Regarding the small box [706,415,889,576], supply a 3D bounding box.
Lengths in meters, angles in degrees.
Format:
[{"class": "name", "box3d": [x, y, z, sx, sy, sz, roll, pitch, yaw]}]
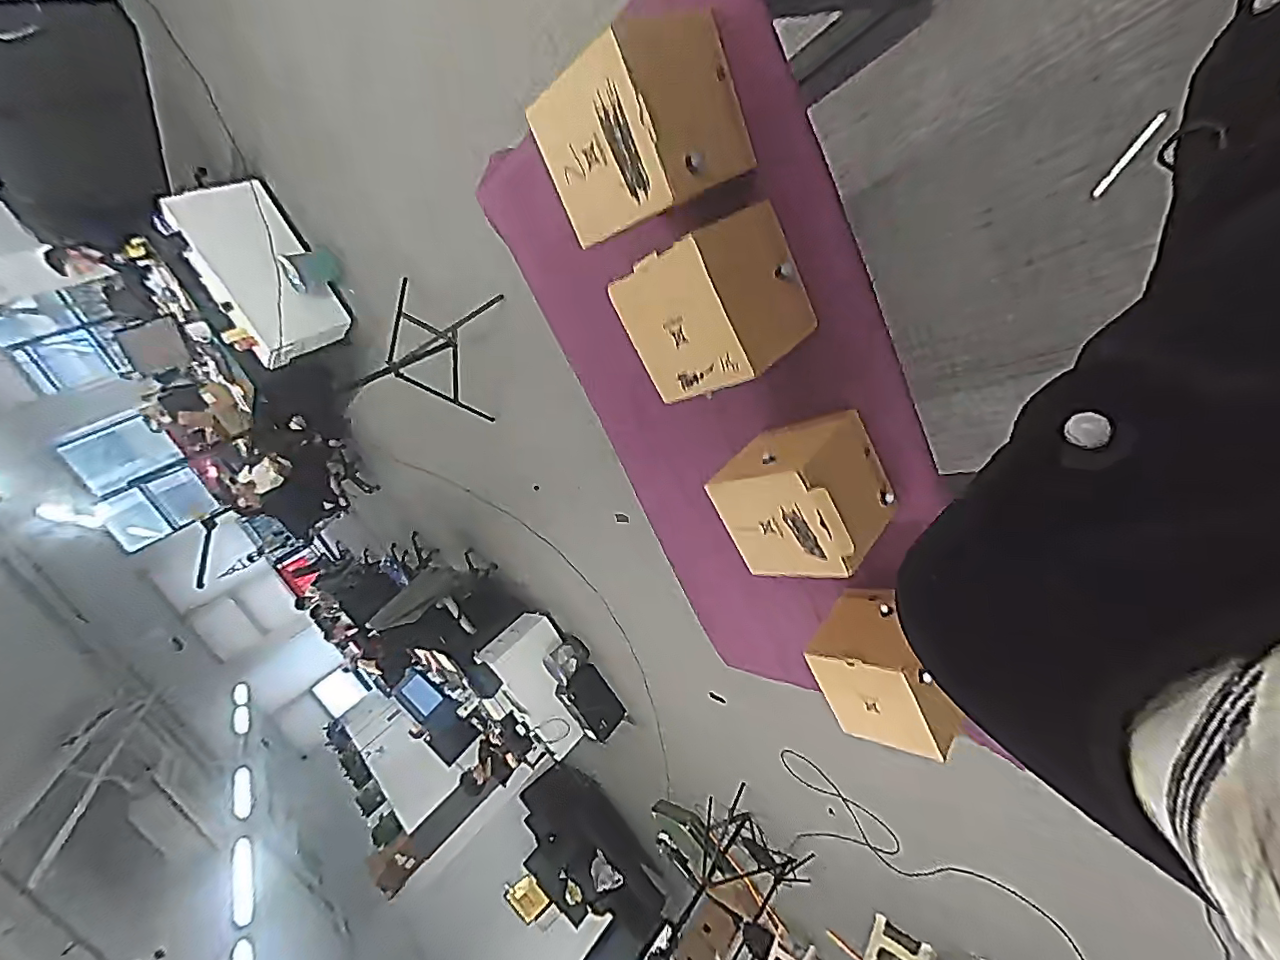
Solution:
[{"class": "small box", "box3d": [0.237, 0.023, 0.790, 0.179, 0.176, 0.168, -12, 113, 54]}]

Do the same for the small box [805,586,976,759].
[{"class": "small box", "box3d": [0.403, 0.294, 0.860, 0.168, 0.176, 0.179, -11, 113, 53]}]
